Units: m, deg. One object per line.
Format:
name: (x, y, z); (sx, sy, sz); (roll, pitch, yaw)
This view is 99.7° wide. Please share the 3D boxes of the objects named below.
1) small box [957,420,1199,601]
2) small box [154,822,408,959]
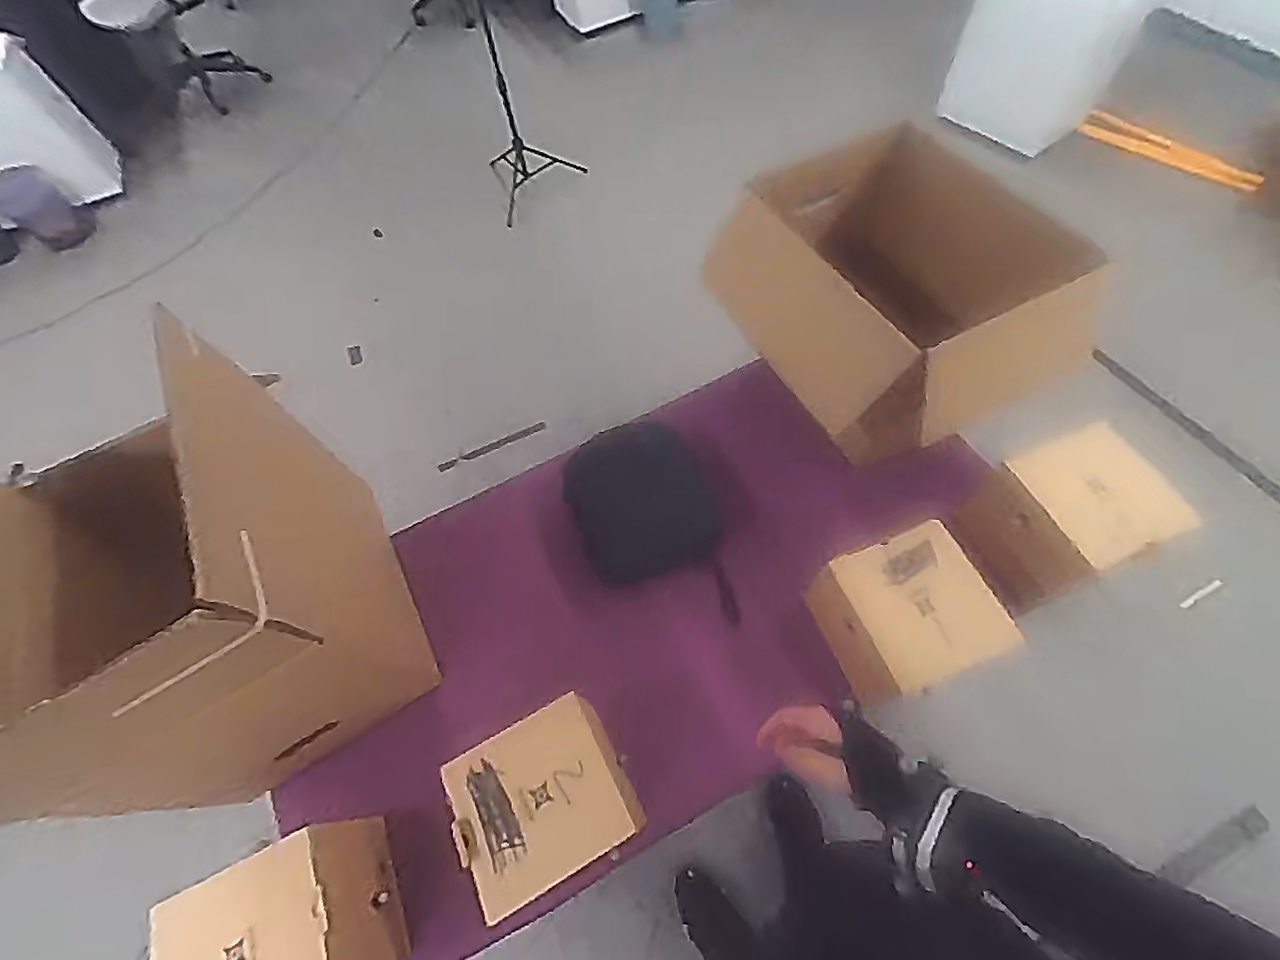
small box: (0.605, 0.049, 0.780); (0.168, 0.176, 0.179); (-21, 61, -5)
small box: (-0.404, 0.527, 0.626); (0.179, 0.176, 0.168); (-26, 62, -9)
